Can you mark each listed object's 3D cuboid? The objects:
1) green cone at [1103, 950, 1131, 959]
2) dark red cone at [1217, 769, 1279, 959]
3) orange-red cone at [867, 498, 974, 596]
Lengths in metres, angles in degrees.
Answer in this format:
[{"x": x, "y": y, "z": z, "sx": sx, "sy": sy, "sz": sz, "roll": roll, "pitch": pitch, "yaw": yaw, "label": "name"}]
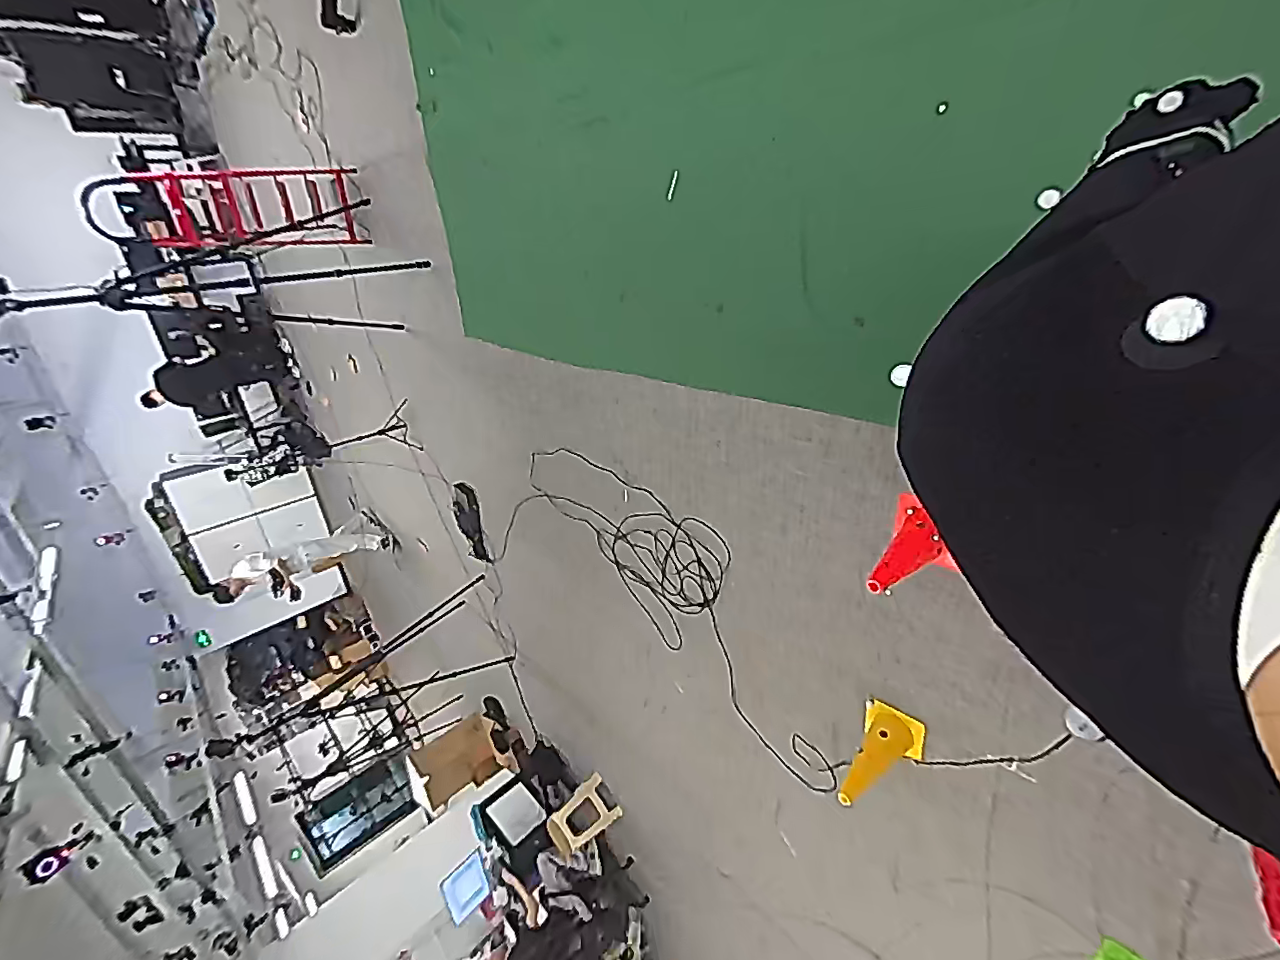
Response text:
[{"x": 1.329, "y": 1.538, "z": 1.456, "sx": 0.202, "sy": 0.368, "sz": 0.200, "roll": 21, "pitch": 124, "yaw": 45, "label": "green cone"}, {"x": 1.278, "y": 0.789, "z": 1.062, "sx": 0.202, "sy": 0.394, "sz": 0.201, "roll": 15, "pitch": 119, "yaw": 46, "label": "dark red cone"}, {"x": 0.718, "y": 0.219, "z": 1.460, "sx": 0.198, "sy": 0.360, "sz": 0.199, "roll": 23, "pitch": 127, "yaw": 43, "label": "orange-red cone"}]
